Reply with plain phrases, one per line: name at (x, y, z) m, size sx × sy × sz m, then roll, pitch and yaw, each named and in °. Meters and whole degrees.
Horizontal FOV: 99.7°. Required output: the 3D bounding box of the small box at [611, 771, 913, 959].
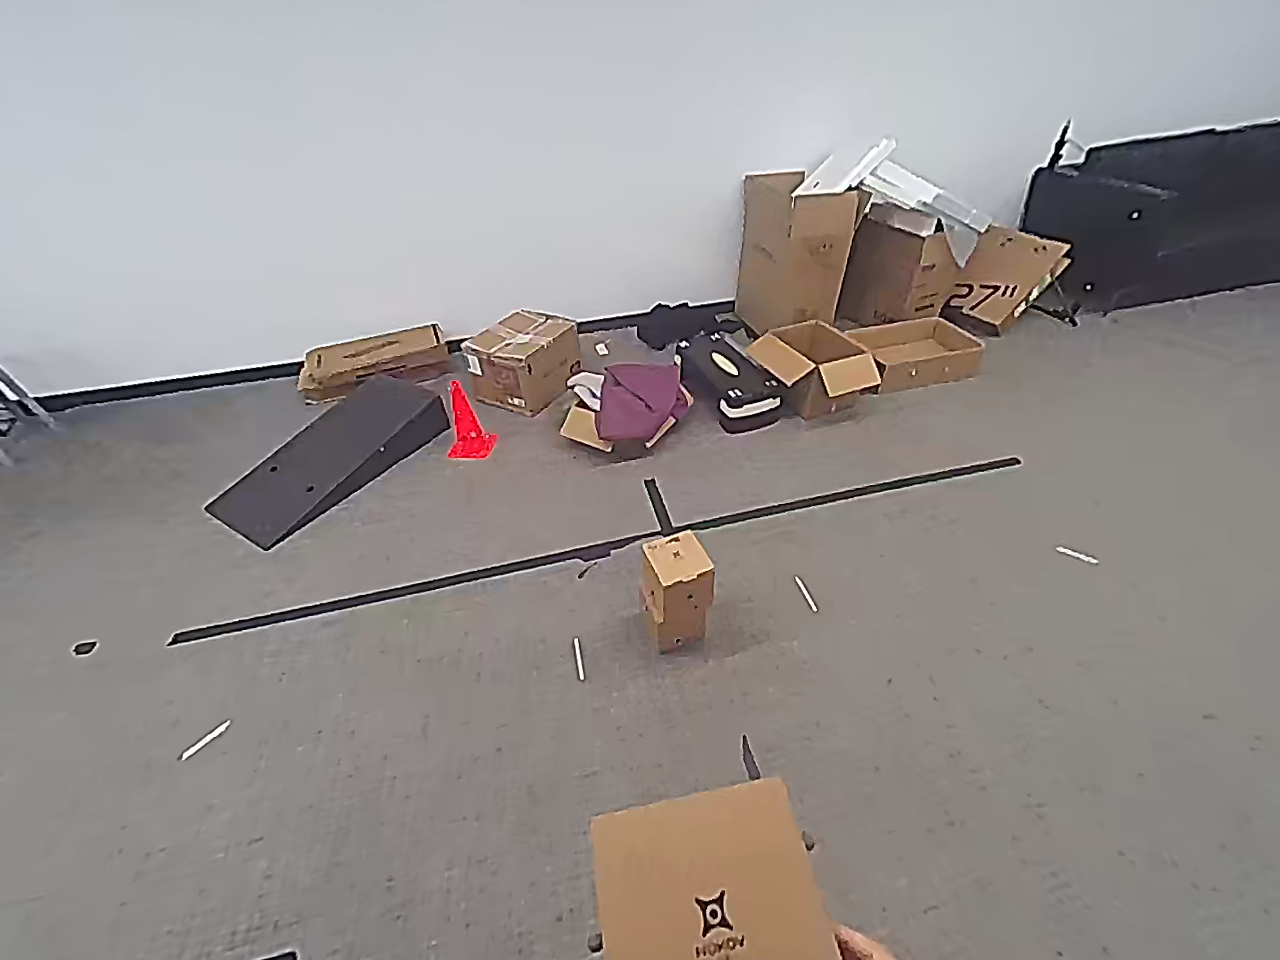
small box at (0.078, 0.332, 0.373) m, size 0.168 × 0.176 × 0.179 m, roll -11°, pitch 48°, yaw -5°

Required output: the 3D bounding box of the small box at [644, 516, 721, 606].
small box at (0.122, 0.240, 1.561) m, size 0.168 × 0.176 × 0.179 m, roll -16°, pitch 42°, yaw -14°

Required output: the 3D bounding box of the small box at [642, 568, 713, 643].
small box at (0.111, 0.368, 1.665) m, size 0.168 × 0.176 × 0.179 m, roll -16°, pitch 43°, yaw -13°
